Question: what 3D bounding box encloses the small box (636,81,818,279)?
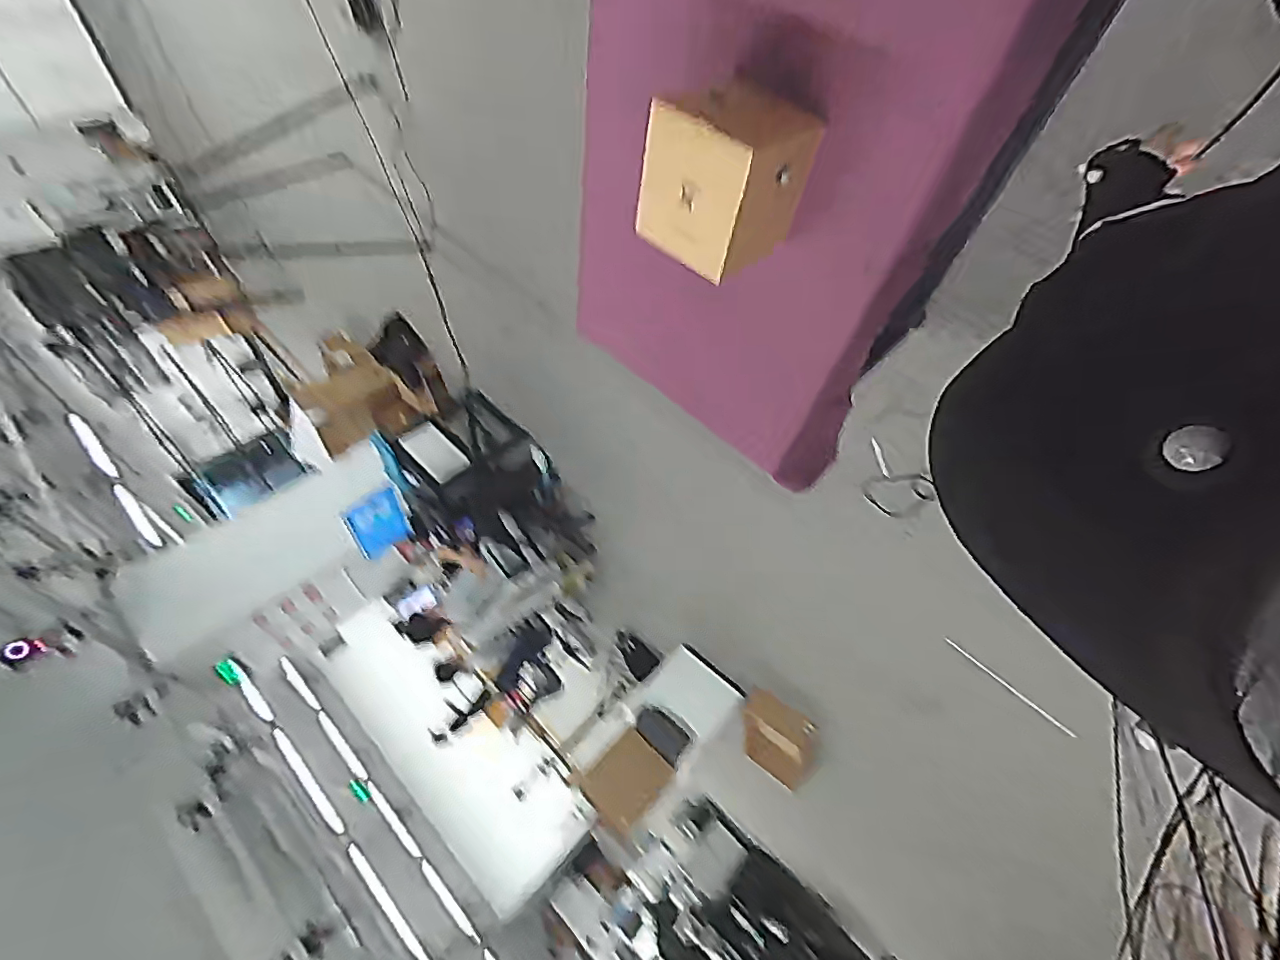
[{"bbox_3d":[0.120,-0.422,0.753,0.168,0.176,0.179,41,148,20],"label":"small box"}]
